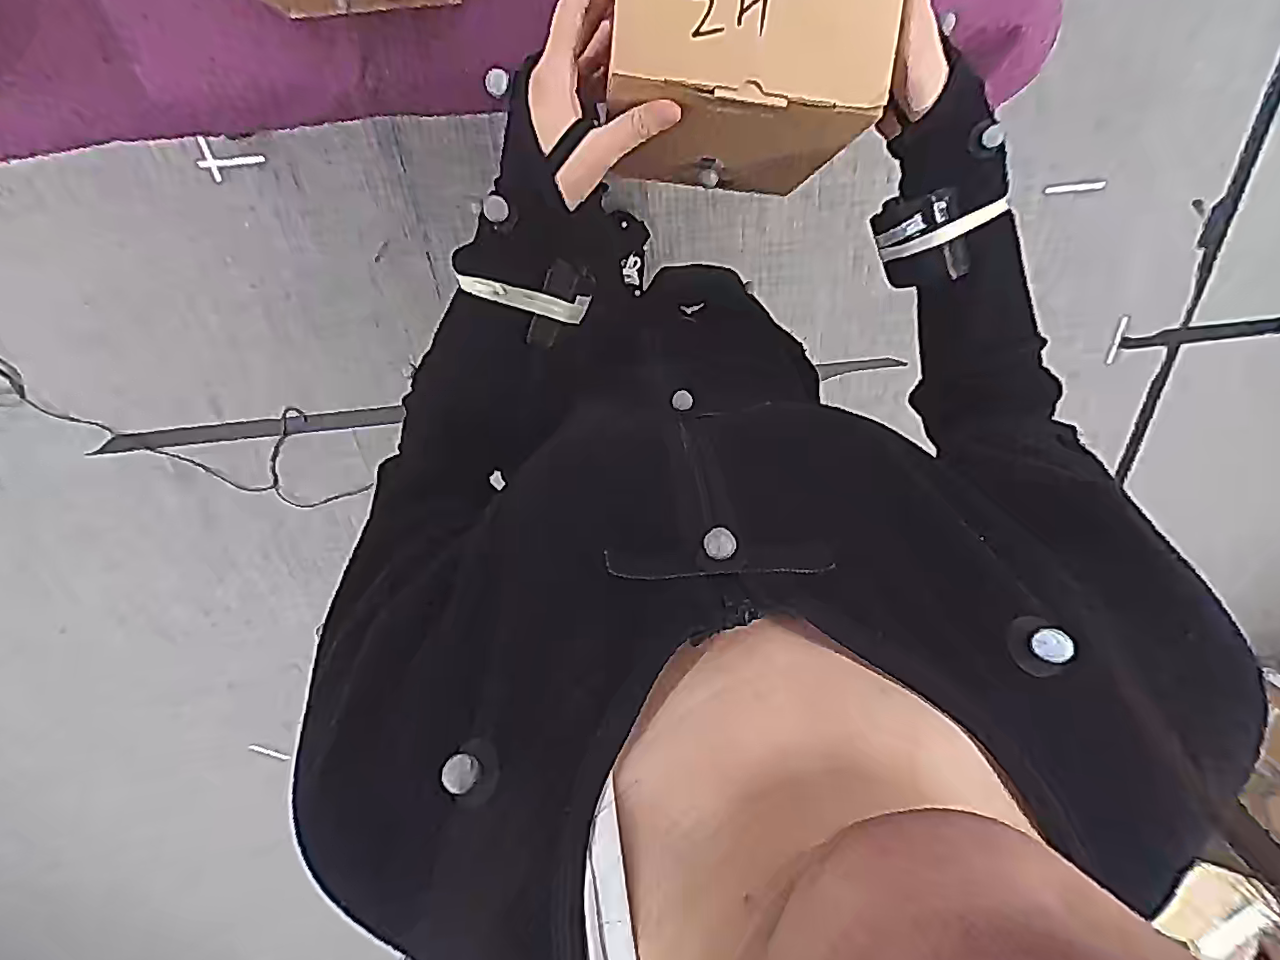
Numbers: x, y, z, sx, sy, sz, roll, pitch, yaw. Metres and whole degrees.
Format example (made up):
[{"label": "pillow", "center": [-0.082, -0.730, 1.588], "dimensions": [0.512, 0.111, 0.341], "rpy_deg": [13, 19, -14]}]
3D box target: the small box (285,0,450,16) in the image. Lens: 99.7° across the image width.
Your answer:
[{"label": "small box", "center": [-0.245, -0.477, 0.393], "dimensions": [0.168, 0.176, 0.179], "rpy_deg": [-8, 120, -3]}]
